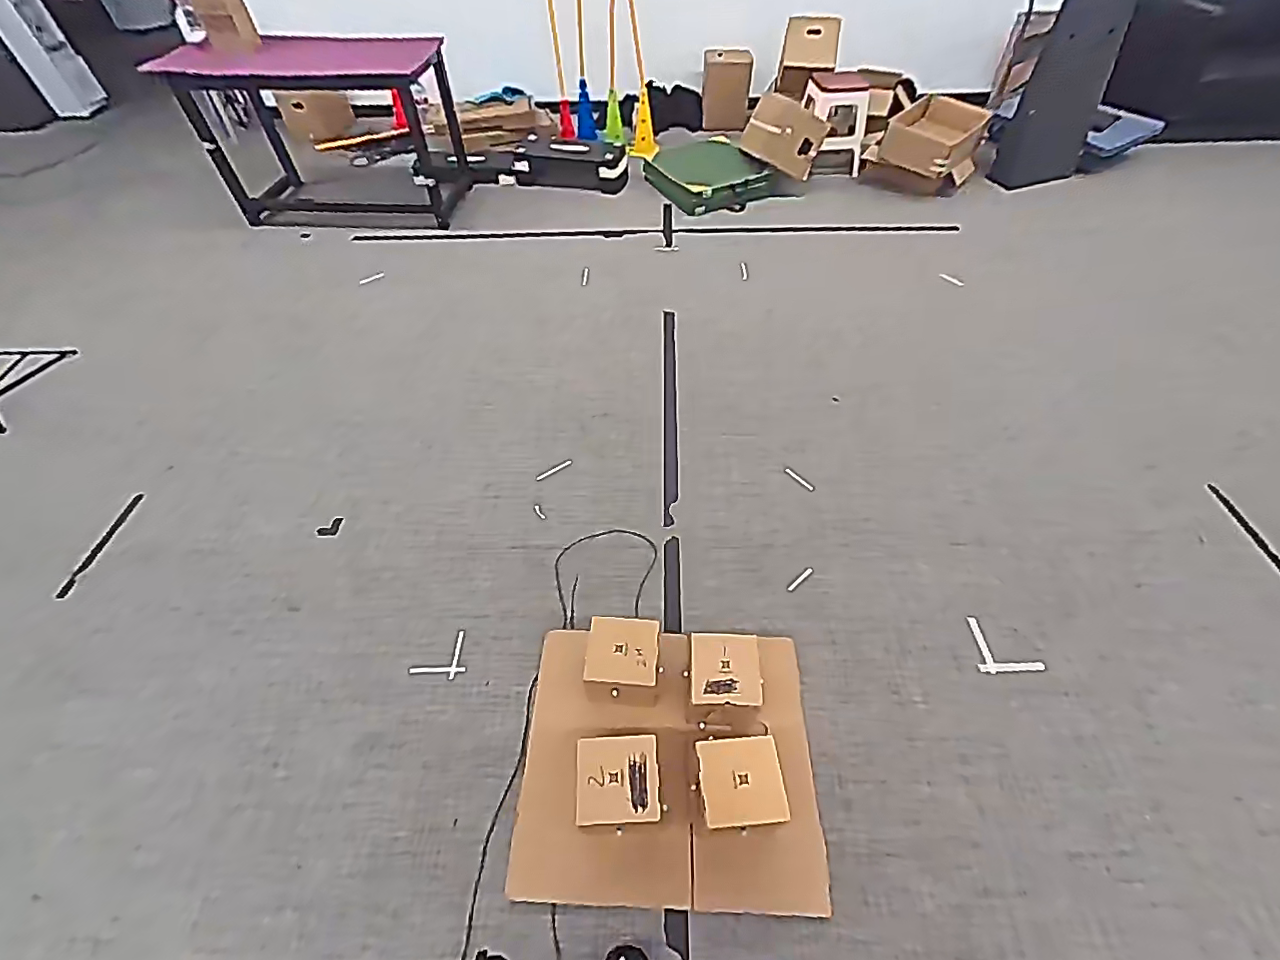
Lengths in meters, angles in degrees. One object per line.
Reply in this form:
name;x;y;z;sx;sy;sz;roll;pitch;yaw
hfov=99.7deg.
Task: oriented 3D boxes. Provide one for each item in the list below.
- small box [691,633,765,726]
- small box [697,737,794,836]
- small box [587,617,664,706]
small box;0.216;0.505;1.360;0.168;0.176;0.179;1;50;4
small box;0.226;0.688;1.210;0.179;0.176;0.168;-5;51;0
small box;-0.032;0.470;1.391;0.179;0.176;0.168;4;51;4
